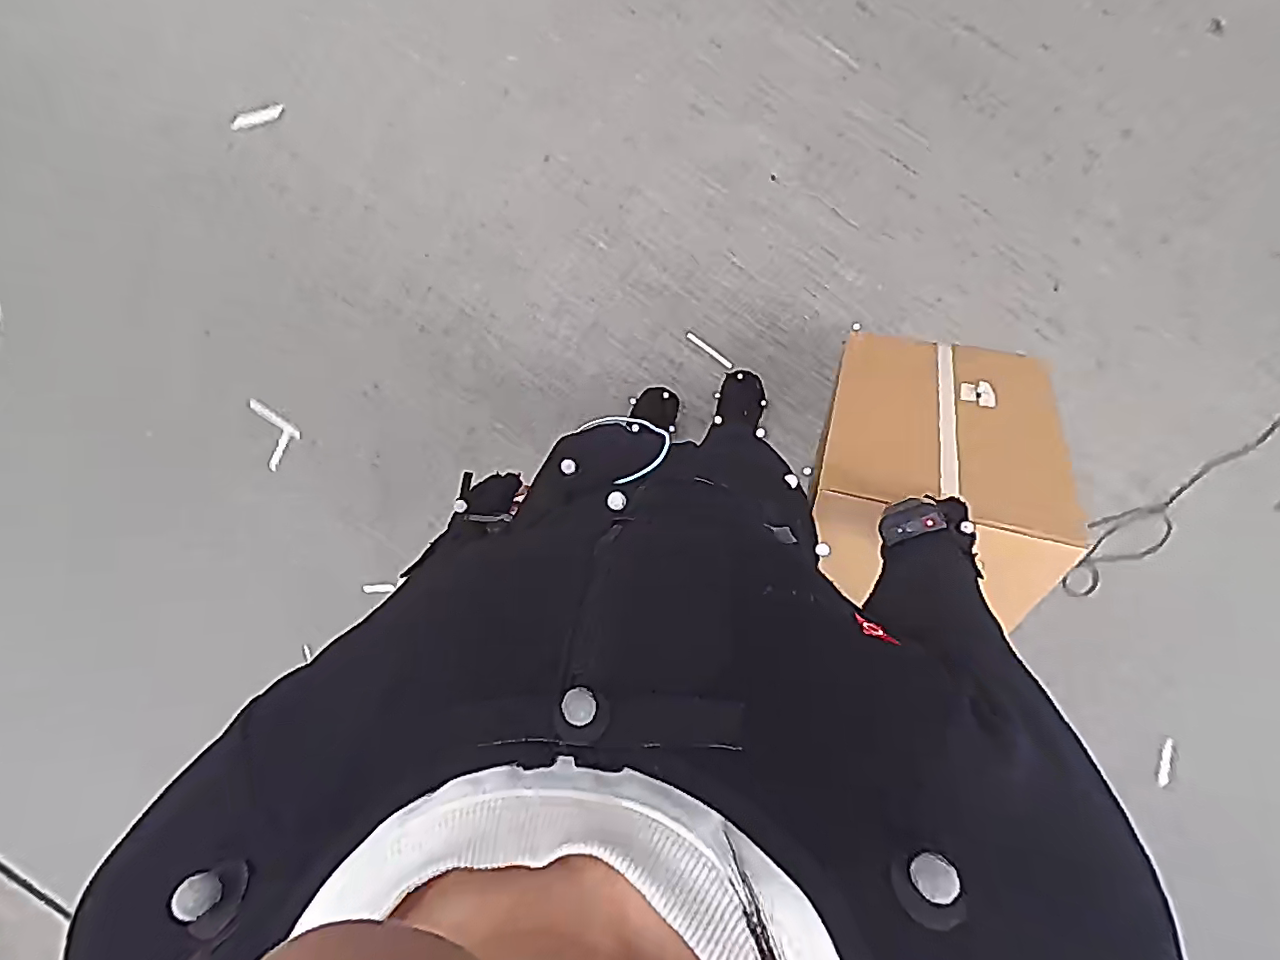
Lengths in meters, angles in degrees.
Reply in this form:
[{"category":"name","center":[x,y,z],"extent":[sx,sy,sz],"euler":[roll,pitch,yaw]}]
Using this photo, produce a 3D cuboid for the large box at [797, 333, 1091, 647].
[{"category":"large box","center":[0.464,0.004,0.914],"extent":[0.320,0.408,0.320],"euler":[13,138,15]}]
